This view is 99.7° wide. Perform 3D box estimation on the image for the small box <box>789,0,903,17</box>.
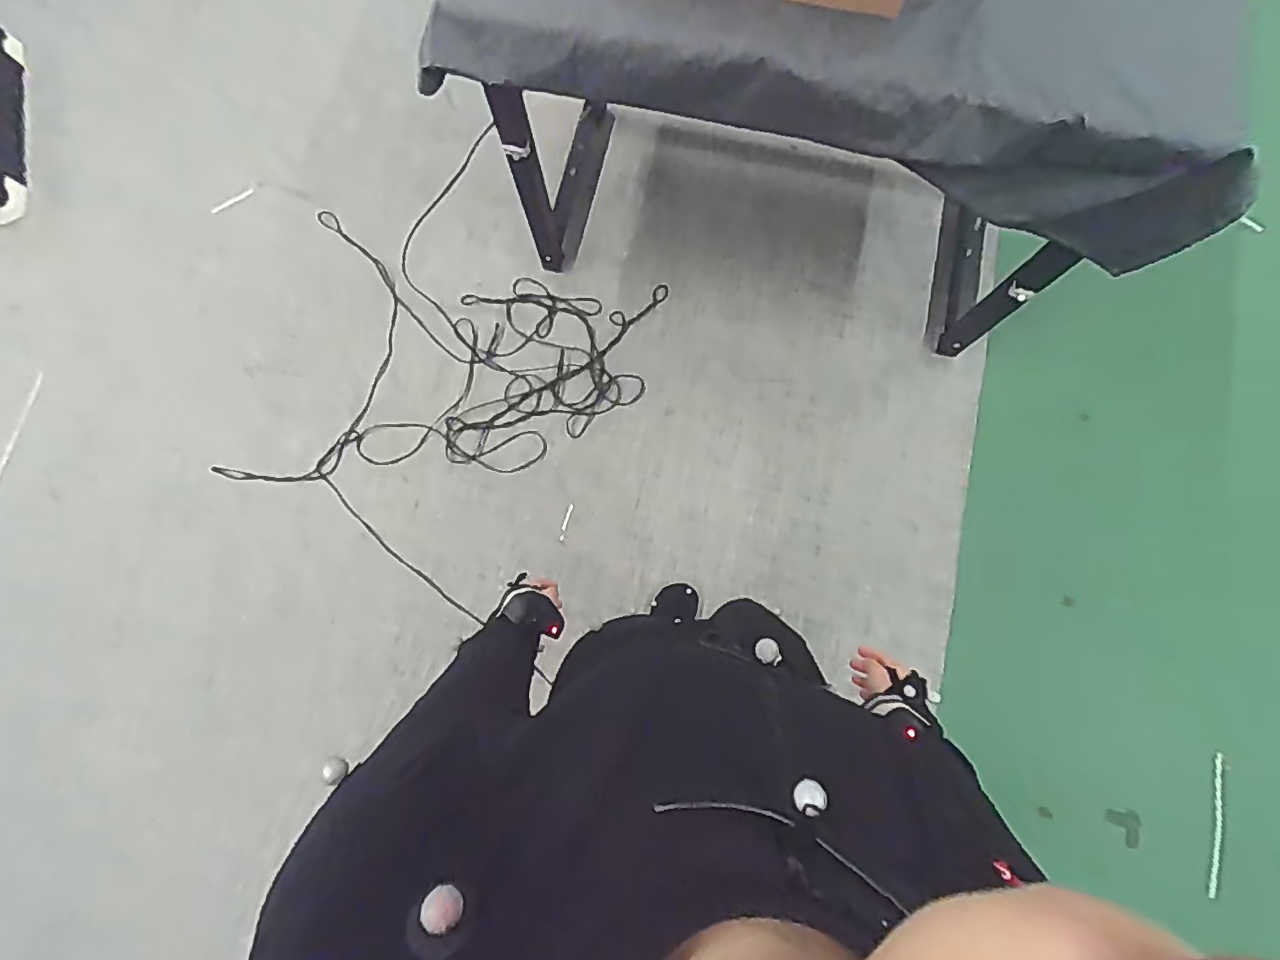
[{"bbox_3d":[0.320,-0.798,0.752,0.179,0.176,0.168,12,77,5],"label":"small box"}]
